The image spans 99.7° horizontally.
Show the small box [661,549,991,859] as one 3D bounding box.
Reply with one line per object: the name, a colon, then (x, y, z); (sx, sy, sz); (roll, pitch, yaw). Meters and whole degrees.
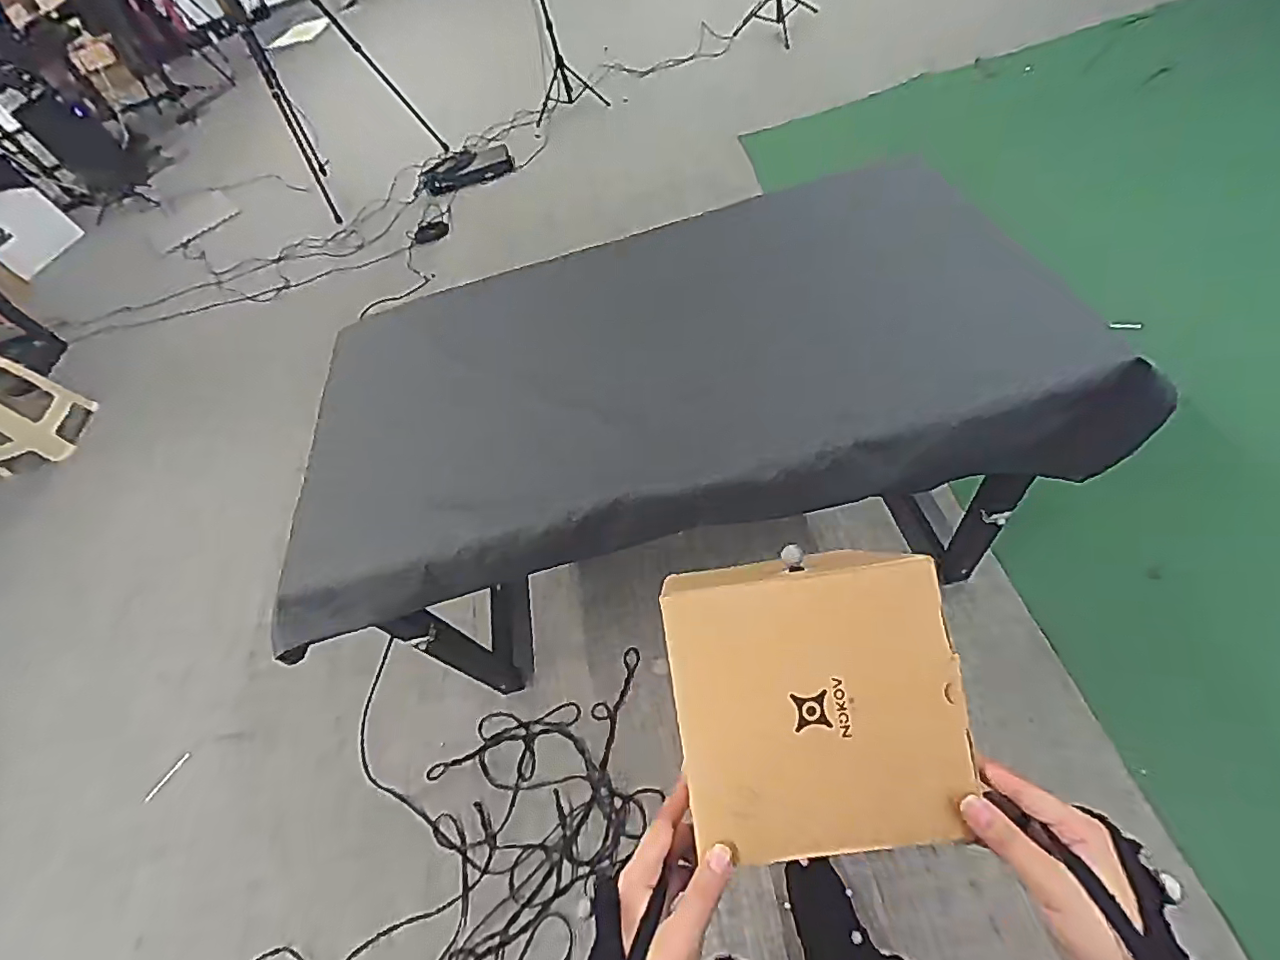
small box: (0.116, 0.146, 0.410); (0.179, 0.176, 0.168); (-9, 83, 2)
